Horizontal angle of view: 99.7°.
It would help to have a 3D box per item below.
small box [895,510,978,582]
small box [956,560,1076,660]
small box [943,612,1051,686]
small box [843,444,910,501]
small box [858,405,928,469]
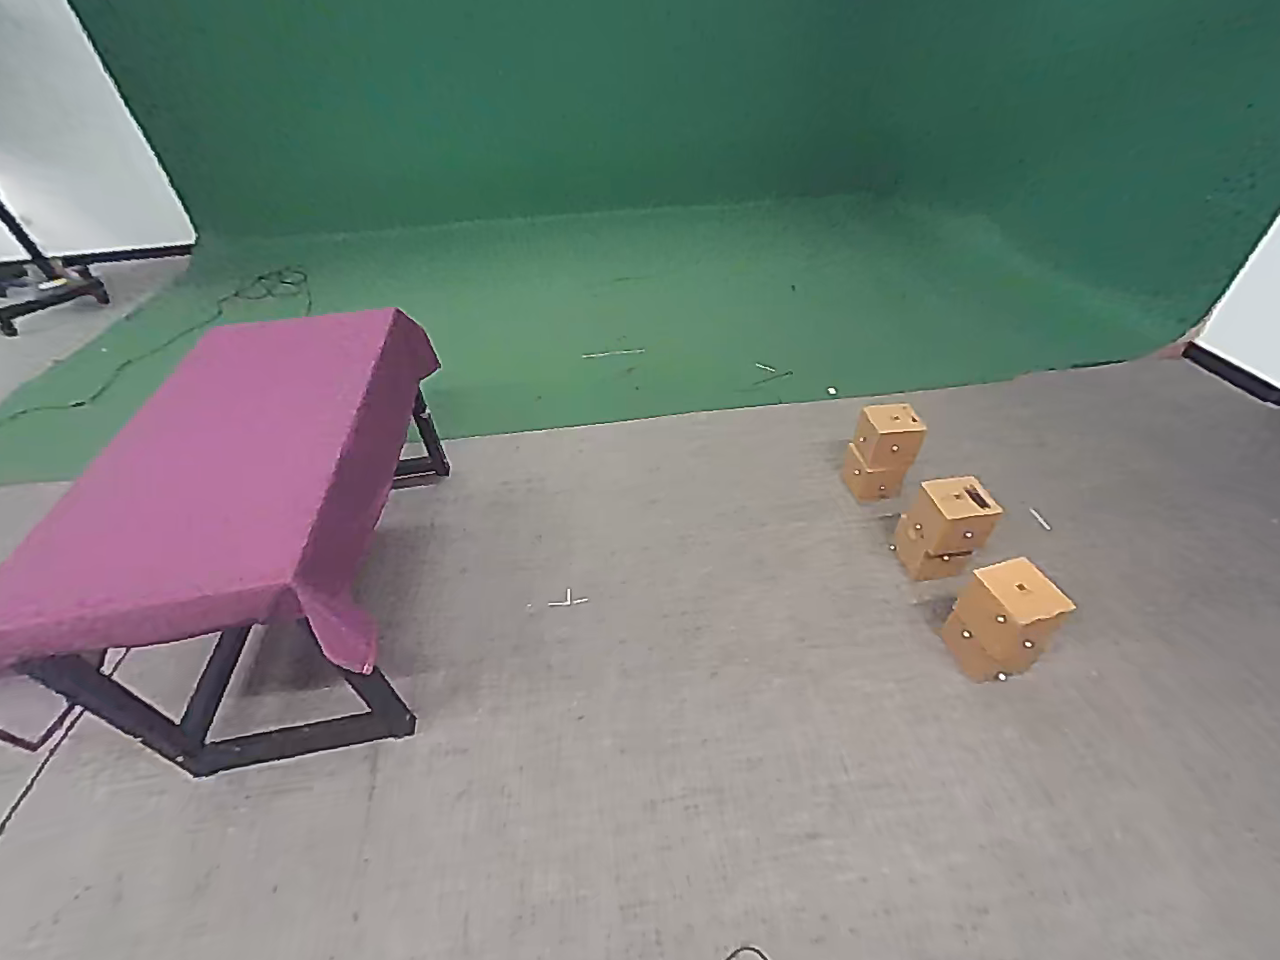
[{"bbox_3d":[0.982,0.225,1.817,0.179,0.176,0.168,-7,43,-4],"label":"small box"},{"bbox_3d":[0.989,0.347,1.443,0.168,0.176,0.179,-12,44,-8],"label":"small box"},{"bbox_3d":[1.013,0.462,1.556,0.168,0.176,0.179,-9,43,-4],"label":"small box"},{"bbox_3d":[0.912,-0.030,2.102,0.168,0.176,0.179,-7,43,-4],"label":"small box"},{"bbox_3d":[0.922,-0.155,1.994,0.179,0.176,0.168,-5,43,0],"label":"small box"}]
